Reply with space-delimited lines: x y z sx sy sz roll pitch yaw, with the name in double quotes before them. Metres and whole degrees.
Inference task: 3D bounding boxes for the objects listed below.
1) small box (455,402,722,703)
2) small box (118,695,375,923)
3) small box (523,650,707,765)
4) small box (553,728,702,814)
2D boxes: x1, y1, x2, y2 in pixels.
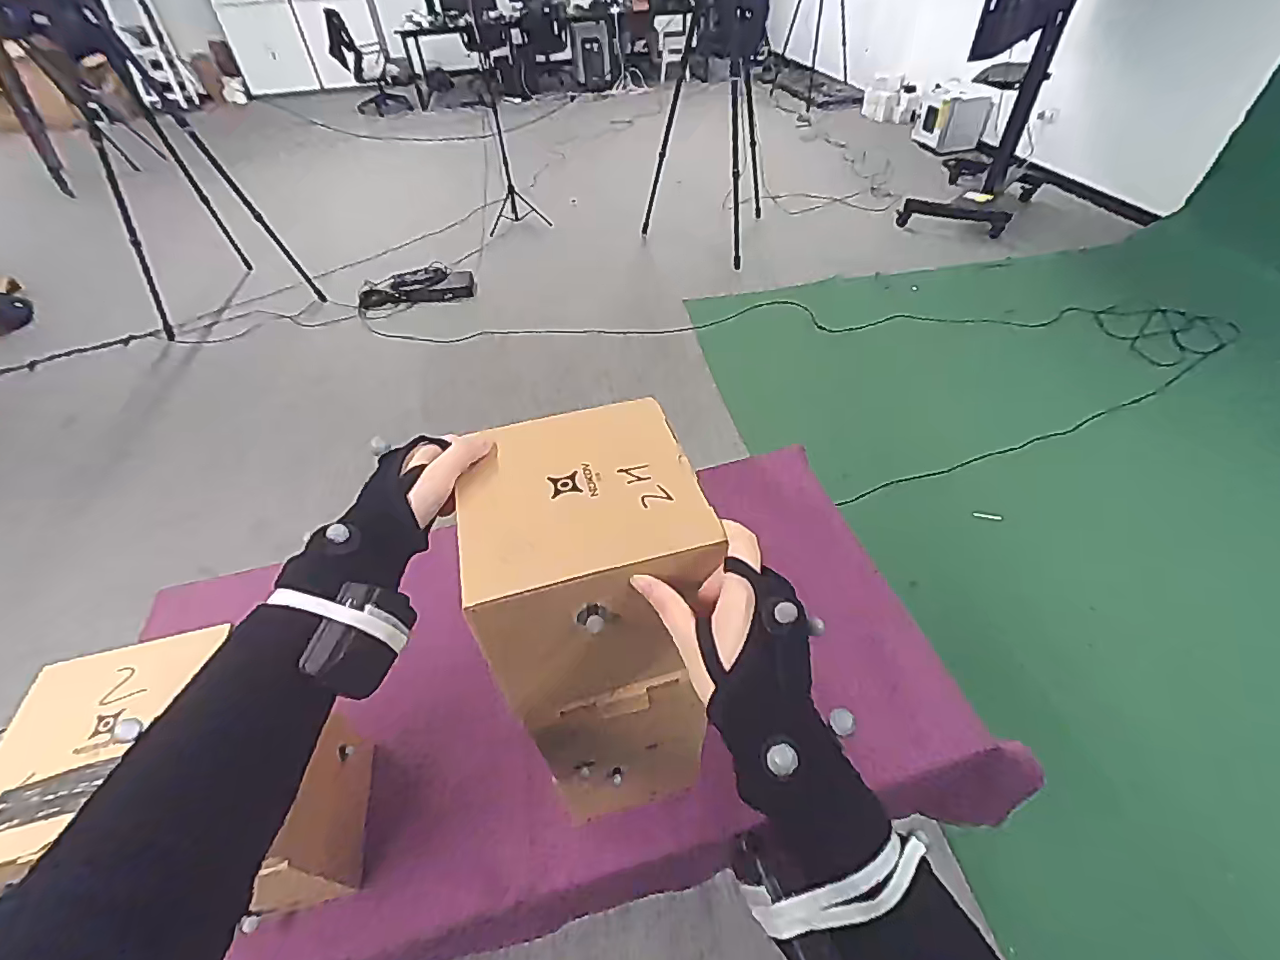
"small box" -0.043 0.062 0.455 0.179 0.176 0.168 -12 47 -9
"small box" -0.432 0.386 0.636 0.168 0.176 0.179 -12 48 -7
"small box" -0.033 0.179 0.574 0.168 0.176 0.179 -13 47 -8
"small box" -0.025 0.293 0.693 0.168 0.176 0.179 -13 46 -7
